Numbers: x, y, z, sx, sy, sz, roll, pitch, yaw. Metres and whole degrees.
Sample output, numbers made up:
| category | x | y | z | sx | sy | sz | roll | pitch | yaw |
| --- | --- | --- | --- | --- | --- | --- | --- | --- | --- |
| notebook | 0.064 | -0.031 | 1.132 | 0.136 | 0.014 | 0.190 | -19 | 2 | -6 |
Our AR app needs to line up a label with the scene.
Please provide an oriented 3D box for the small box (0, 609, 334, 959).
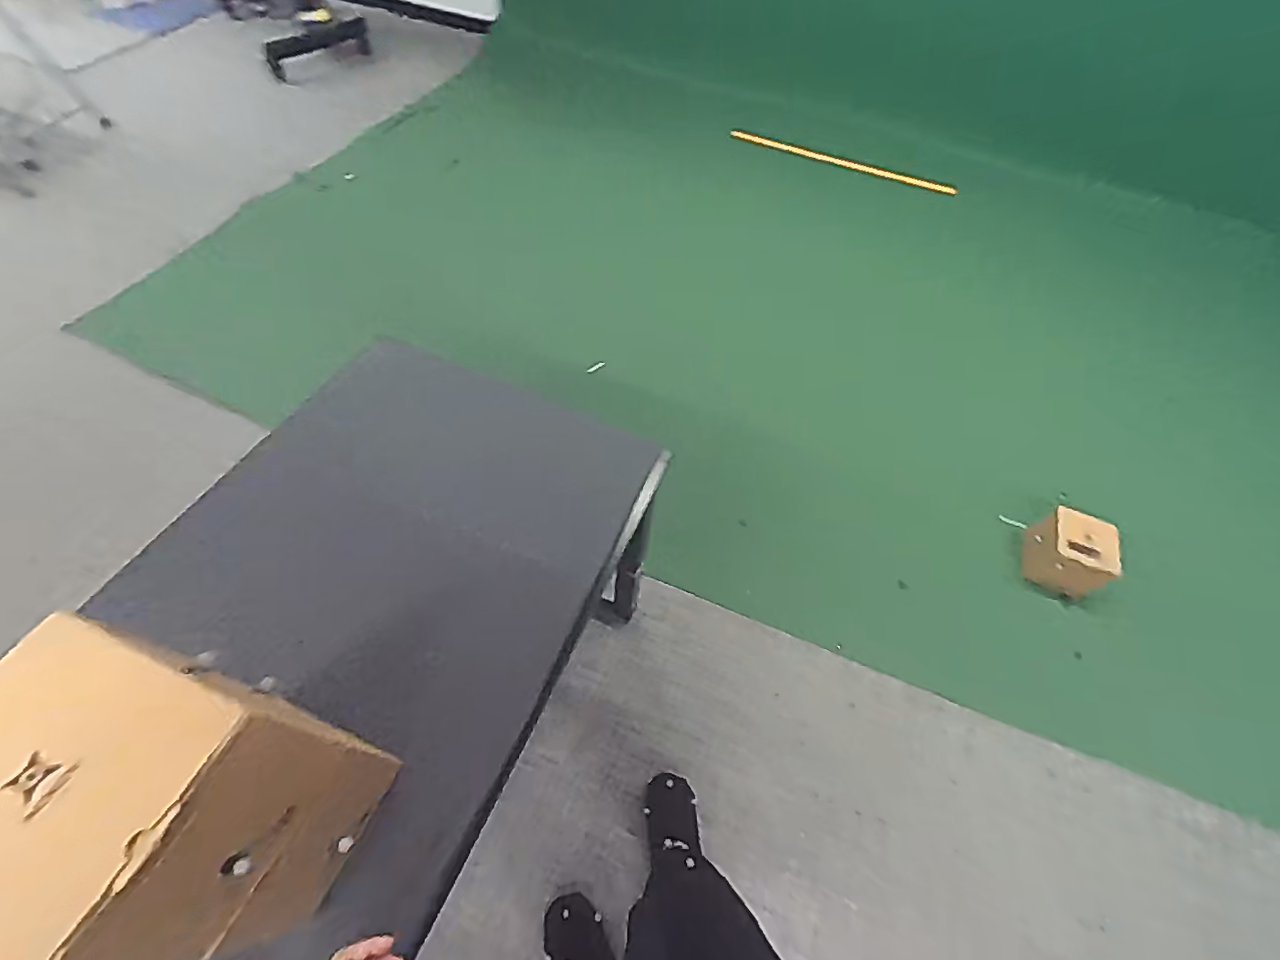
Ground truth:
| category | x | y | z | sx | sy | sz | roll | pitch | yaw |
| --- | --- | --- | --- | --- | --- | --- | --- | --- | --- |
| small box | -0.378 | 0.227 | 0.399 | 0.179 | 0.176 | 0.168 | 20 | 57 | 9 |

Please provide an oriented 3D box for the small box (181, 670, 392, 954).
| category | x | y | z | sx | sy | sz | roll | pitch | yaw |
| --- | --- | --- | --- | --- | --- | --- | --- | --- | --- |
| small box | -0.387 | 0.318 | 0.534 | 0.179 | 0.176 | 0.168 | 20 | 58 | 10 |
